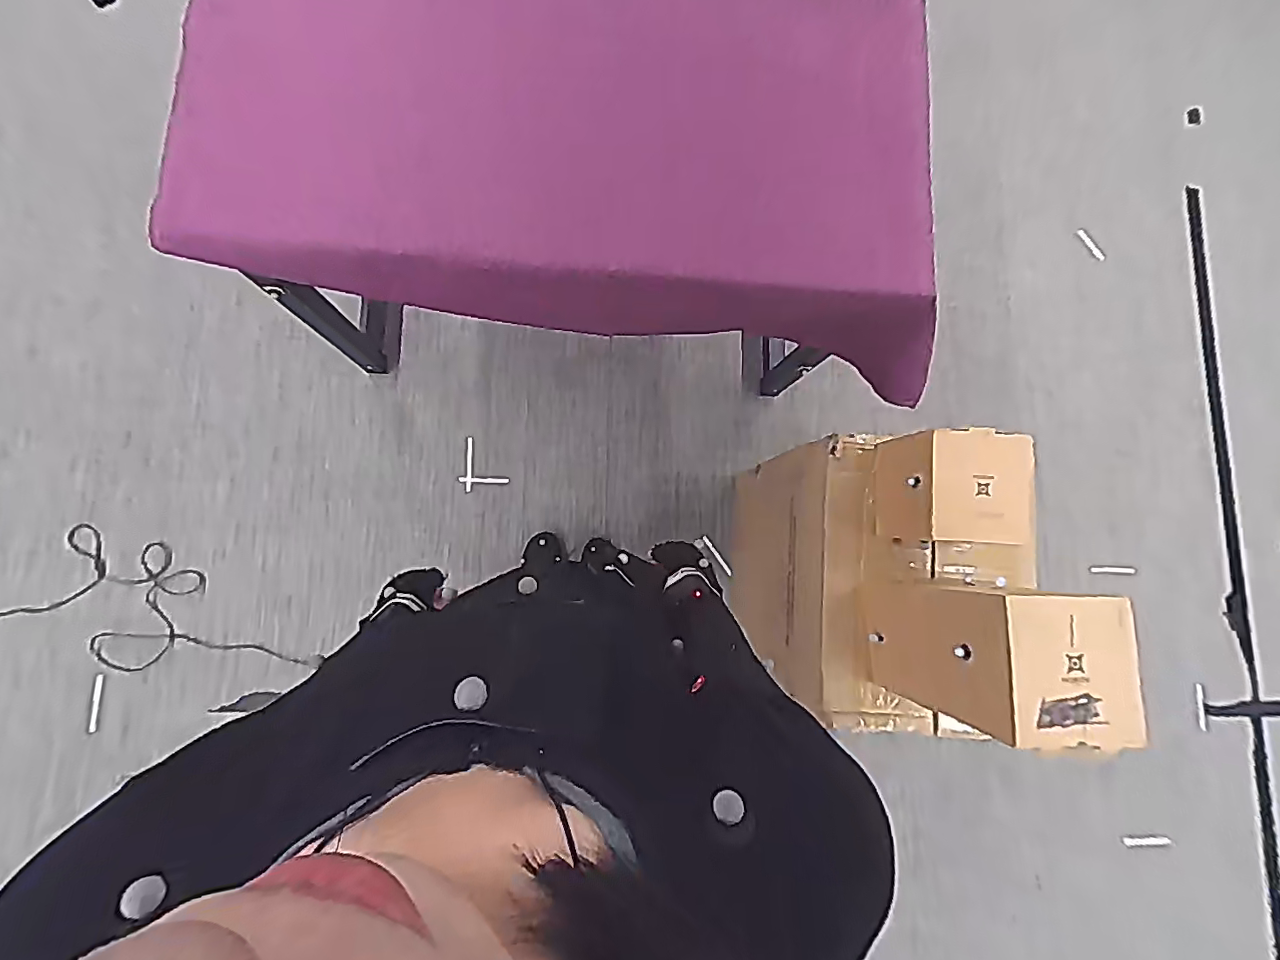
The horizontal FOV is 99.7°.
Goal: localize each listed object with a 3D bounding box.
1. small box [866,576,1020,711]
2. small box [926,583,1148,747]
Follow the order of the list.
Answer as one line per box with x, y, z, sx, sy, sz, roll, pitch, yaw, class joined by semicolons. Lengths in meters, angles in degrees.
0.490;0.253;0.875;0.168;0.176;0.179;-3;83;-6;small box
0.503;0.231;0.711;0.168;0.176;0.179;2;81;-5;small box
